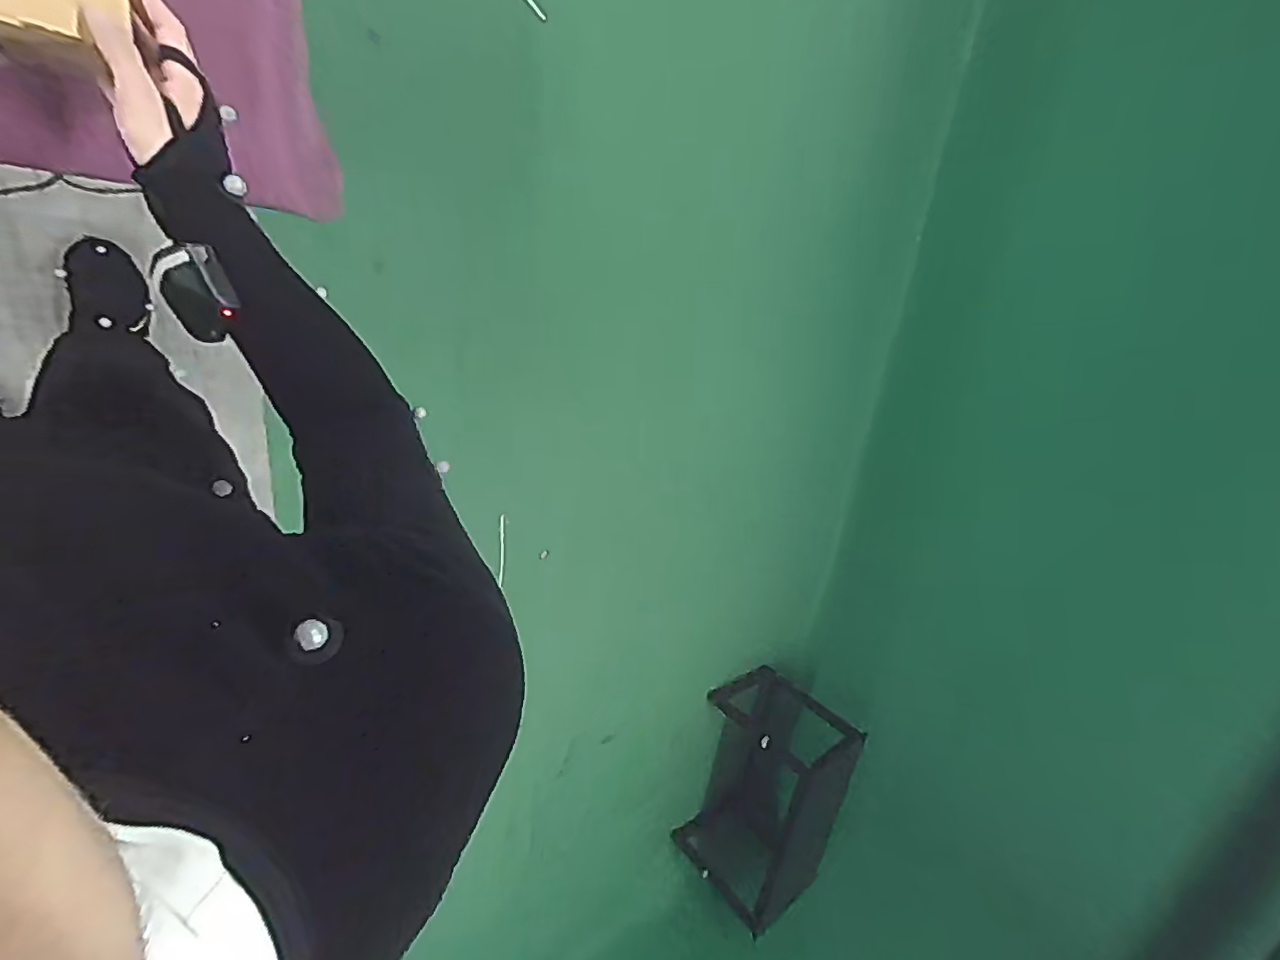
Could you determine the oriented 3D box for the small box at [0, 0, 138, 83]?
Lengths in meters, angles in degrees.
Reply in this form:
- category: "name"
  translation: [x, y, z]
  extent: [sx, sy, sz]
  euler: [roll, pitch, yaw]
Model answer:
- category: "small box"
  translation: [-0.493, -0.429, 0.396]
  extent: [0.168, 0.176, 0.179]
  euler: [-8, 116, -41]
